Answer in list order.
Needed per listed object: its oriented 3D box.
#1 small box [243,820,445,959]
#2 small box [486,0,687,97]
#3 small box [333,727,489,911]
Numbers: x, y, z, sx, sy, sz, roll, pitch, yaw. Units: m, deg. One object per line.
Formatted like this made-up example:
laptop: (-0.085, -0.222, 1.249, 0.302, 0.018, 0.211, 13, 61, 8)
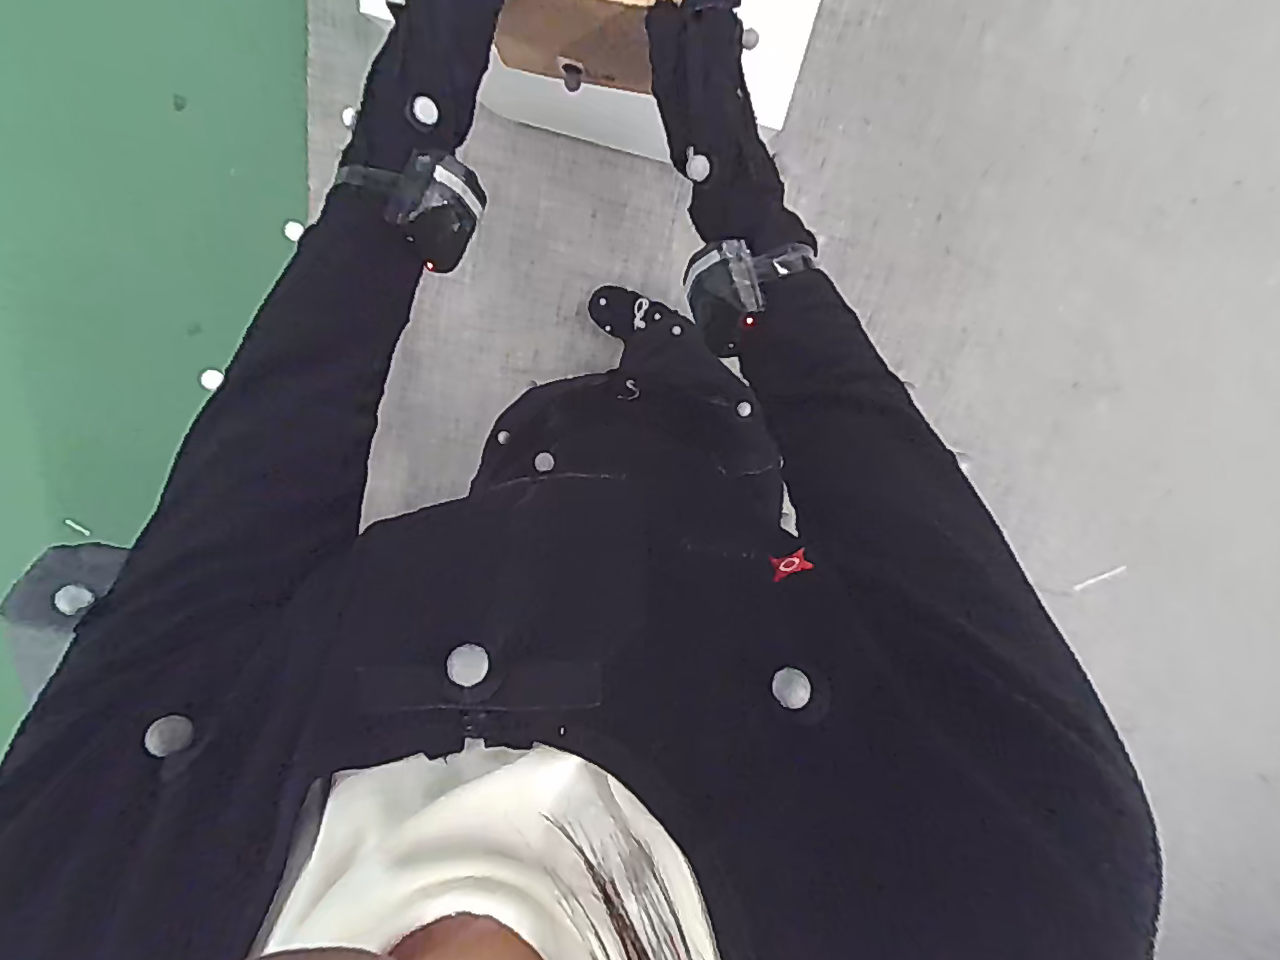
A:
small box: (-0.365, 0.583, 0.693, 0.168, 0.176, 0.179, 14, 116, -1)
small box: (-0.038, -0.453, 0.439, 0.168, 0.176, 0.179, 7, 108, -3)
small box: (-0.351, 0.519, 0.844, 0.179, 0.176, 0.168, 16, 114, -3)
